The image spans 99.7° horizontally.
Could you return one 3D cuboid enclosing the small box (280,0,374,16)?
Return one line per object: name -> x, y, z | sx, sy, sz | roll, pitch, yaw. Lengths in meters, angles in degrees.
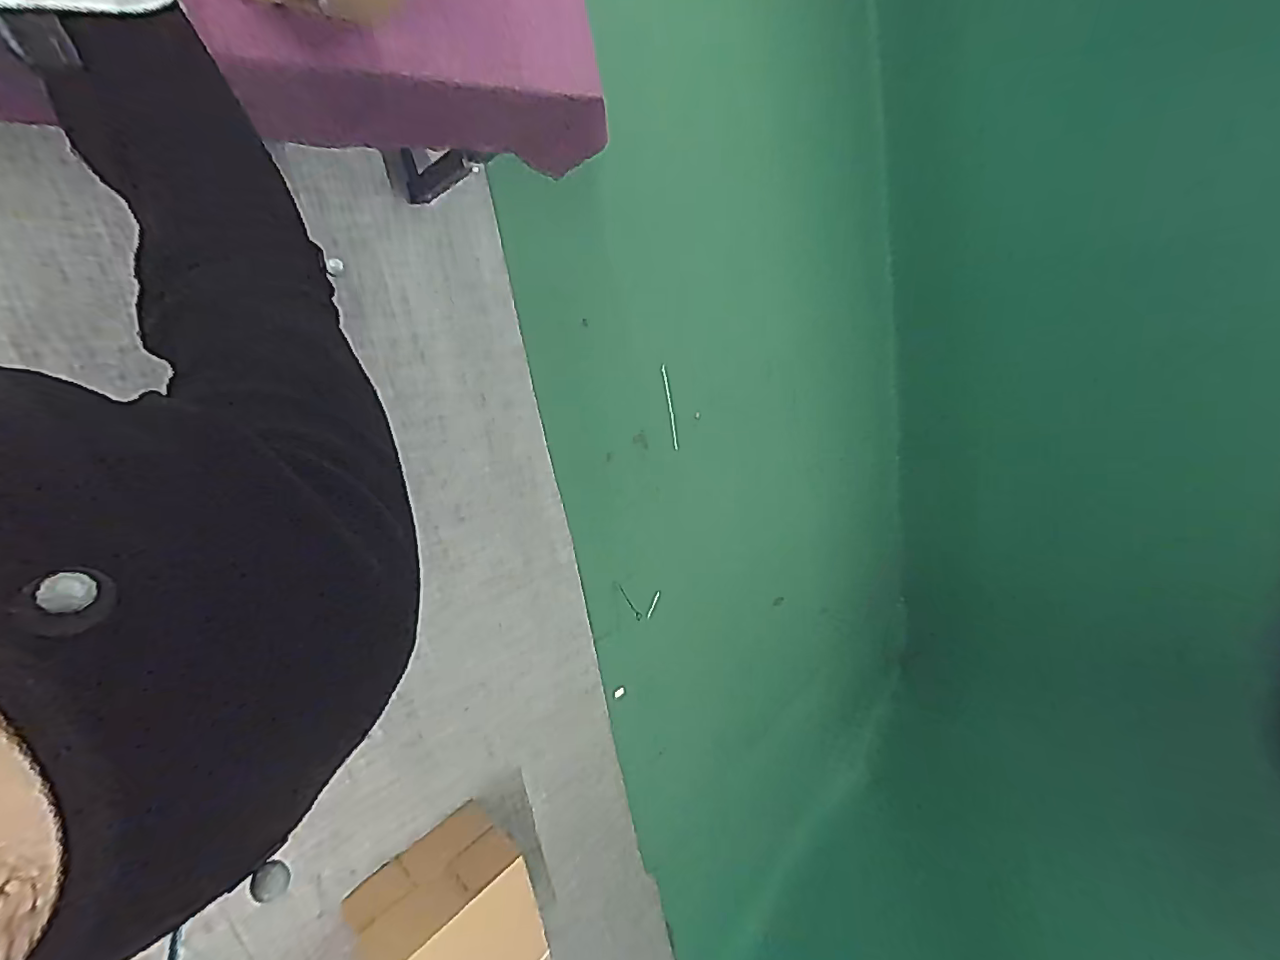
small box -> -0.388, -0.670, 0.605 | 0.179, 0.176, 0.168 | -27, 111, -42
